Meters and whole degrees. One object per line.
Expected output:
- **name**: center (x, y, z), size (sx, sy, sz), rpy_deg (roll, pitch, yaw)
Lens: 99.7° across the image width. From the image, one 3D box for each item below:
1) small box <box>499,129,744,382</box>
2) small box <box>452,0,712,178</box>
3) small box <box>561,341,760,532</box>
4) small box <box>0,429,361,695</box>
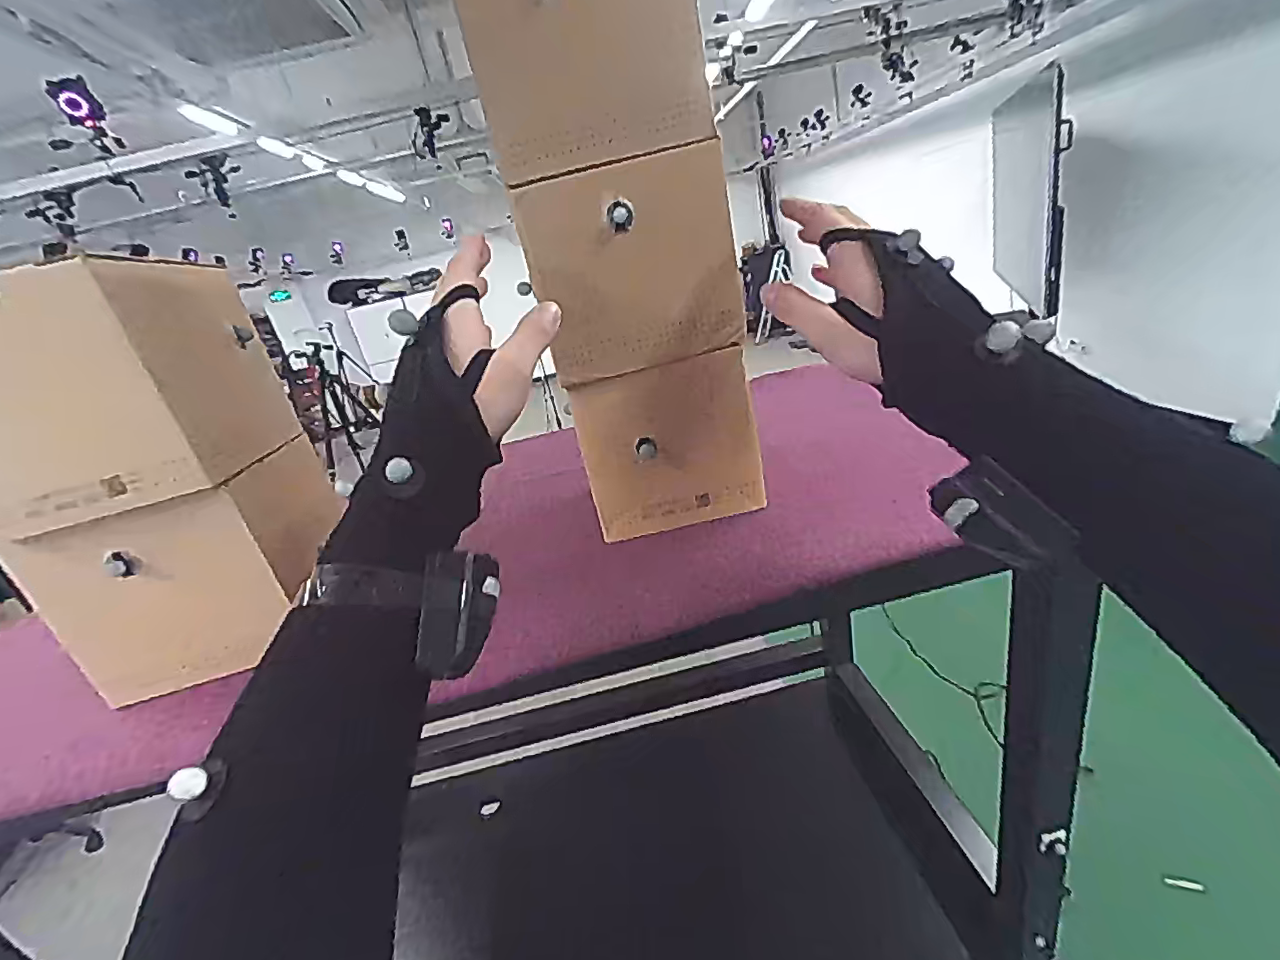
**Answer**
- **small box**: center (-0.015, -0.201, 0.517), size (0.179, 0.176, 0.168), rpy_deg (-14, 22, -2)
- **small box**: center (-0.049, -0.354, 0.468), size (0.179, 0.176, 0.168), rpy_deg (-13, 22, 0)
- **small box**: center (0.022, -0.056, 0.584), size (0.168, 0.176, 0.179), rpy_deg (-13, 21, 1)
- **small box**: center (-0.402, 0.070, 0.511), size (0.179, 0.176, 0.168), rpy_deg (-15, 22, -6)
